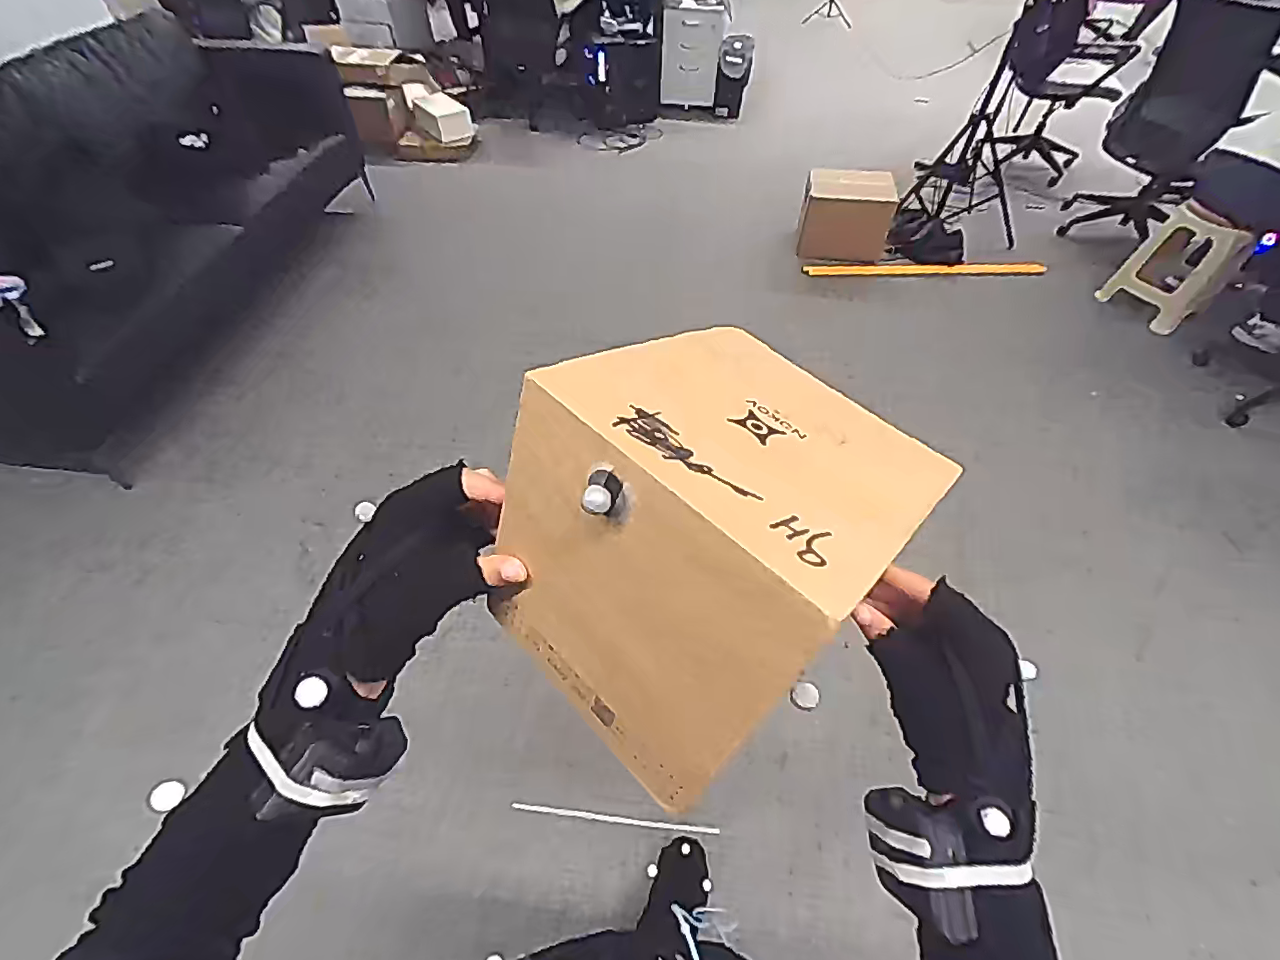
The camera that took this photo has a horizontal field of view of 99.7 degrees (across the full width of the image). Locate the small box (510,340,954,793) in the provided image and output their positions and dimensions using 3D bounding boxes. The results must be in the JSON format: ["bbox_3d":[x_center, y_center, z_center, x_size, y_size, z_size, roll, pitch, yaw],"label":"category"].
[{"bbox_3d":[0.045,0.037,0.326,0.168,0.176,0.179,39,39,24],"label":"small box"}]
